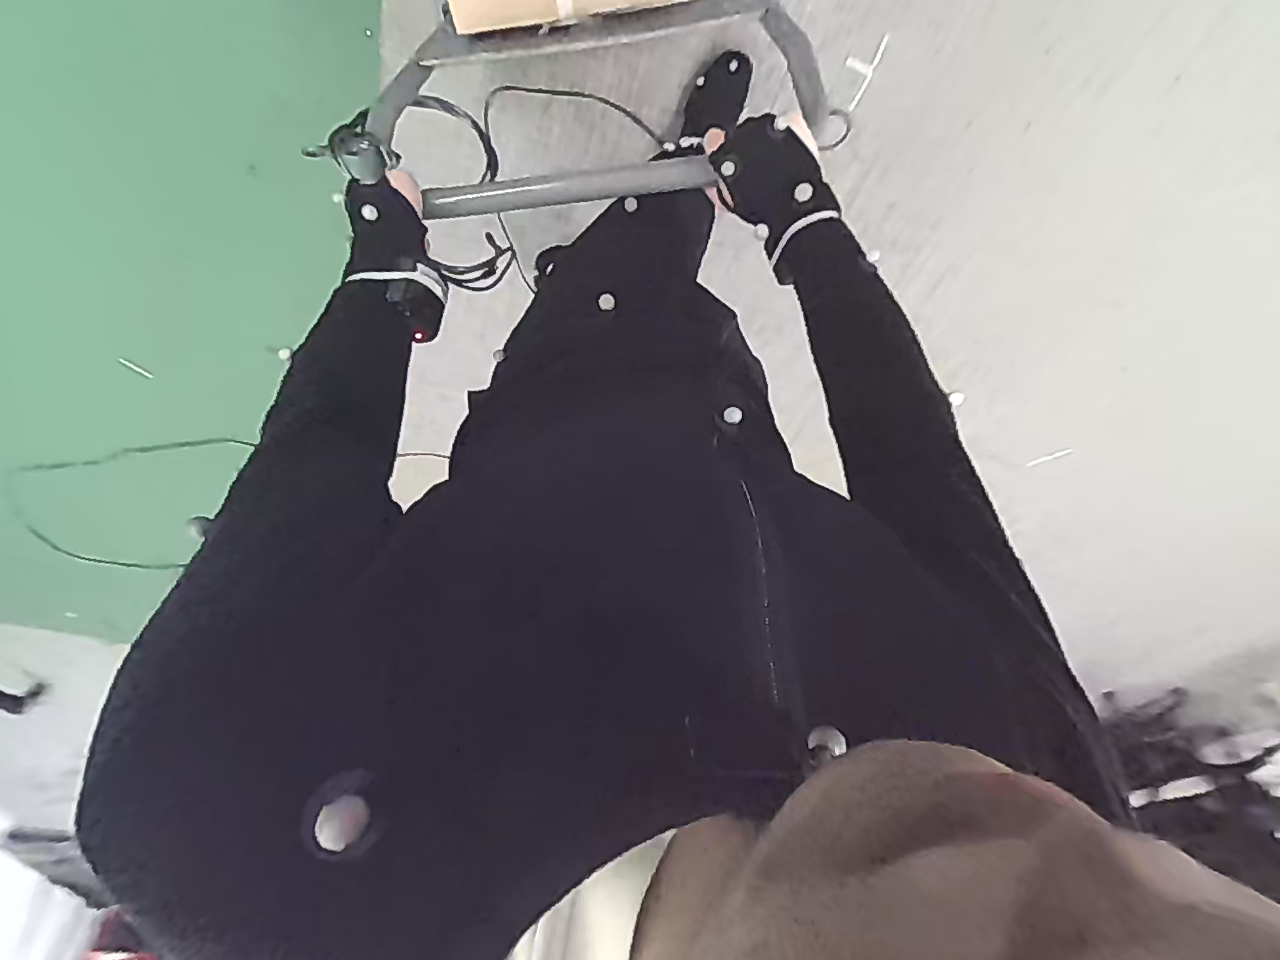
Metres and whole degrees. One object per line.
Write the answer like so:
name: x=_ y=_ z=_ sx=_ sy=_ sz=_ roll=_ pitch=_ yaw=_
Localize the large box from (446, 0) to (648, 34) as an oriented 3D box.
large box: x=-0.131 y=-0.879 z=0.702 sx=0.320 sy=0.320 sz=0.408 roll=-5 pitch=136 yaw=4
